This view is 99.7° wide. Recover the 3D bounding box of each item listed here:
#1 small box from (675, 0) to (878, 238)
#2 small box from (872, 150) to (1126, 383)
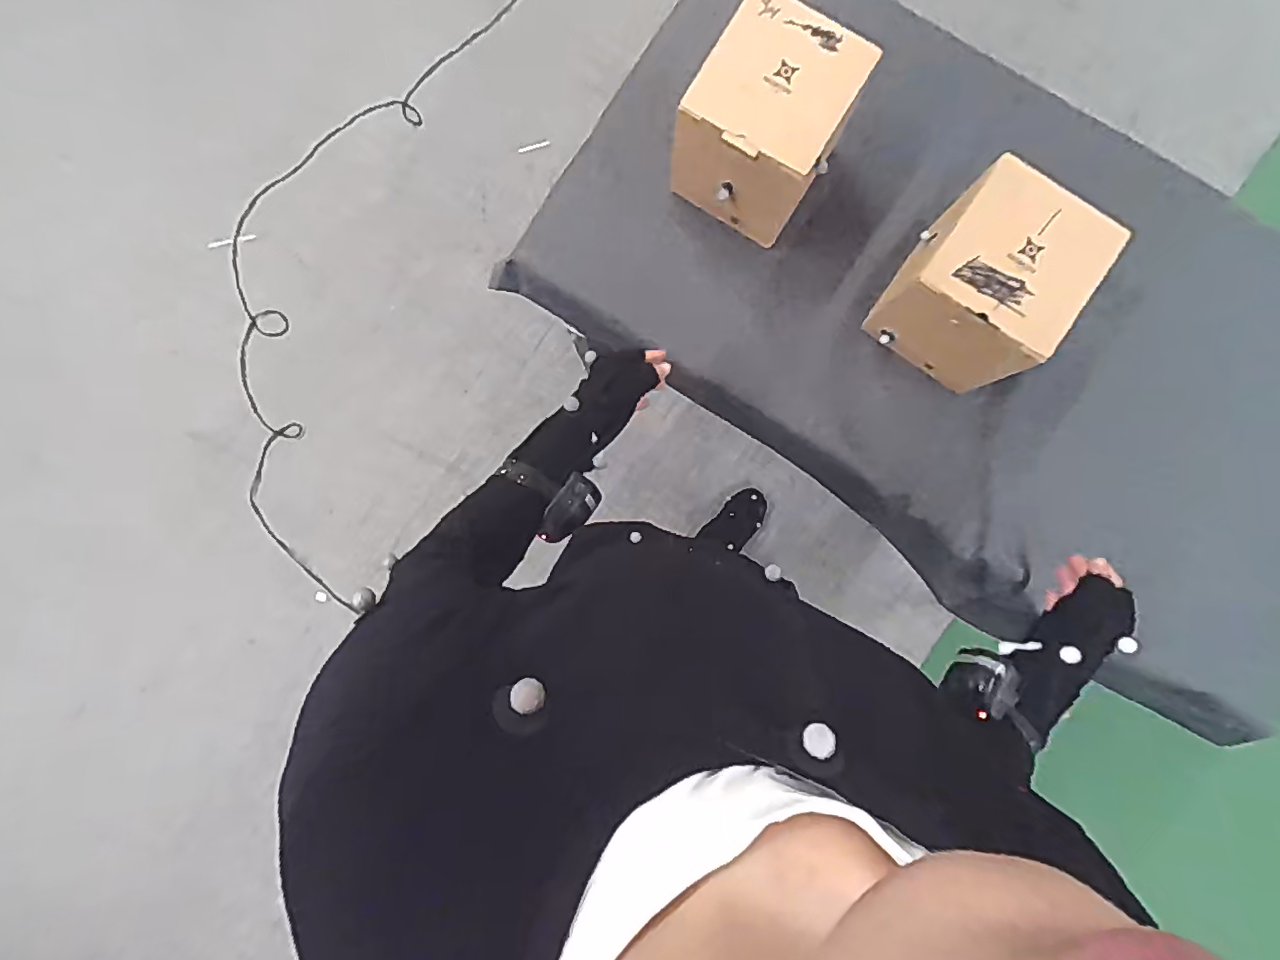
[{"bbox_3d":[0.158,-0.449,0.685,0.168,0.176,0.179,32,89,2],"label":"small box"},{"bbox_3d":[0.419,-0.245,0.670,0.168,0.176,0.179,36,87,2],"label":"small box"}]
